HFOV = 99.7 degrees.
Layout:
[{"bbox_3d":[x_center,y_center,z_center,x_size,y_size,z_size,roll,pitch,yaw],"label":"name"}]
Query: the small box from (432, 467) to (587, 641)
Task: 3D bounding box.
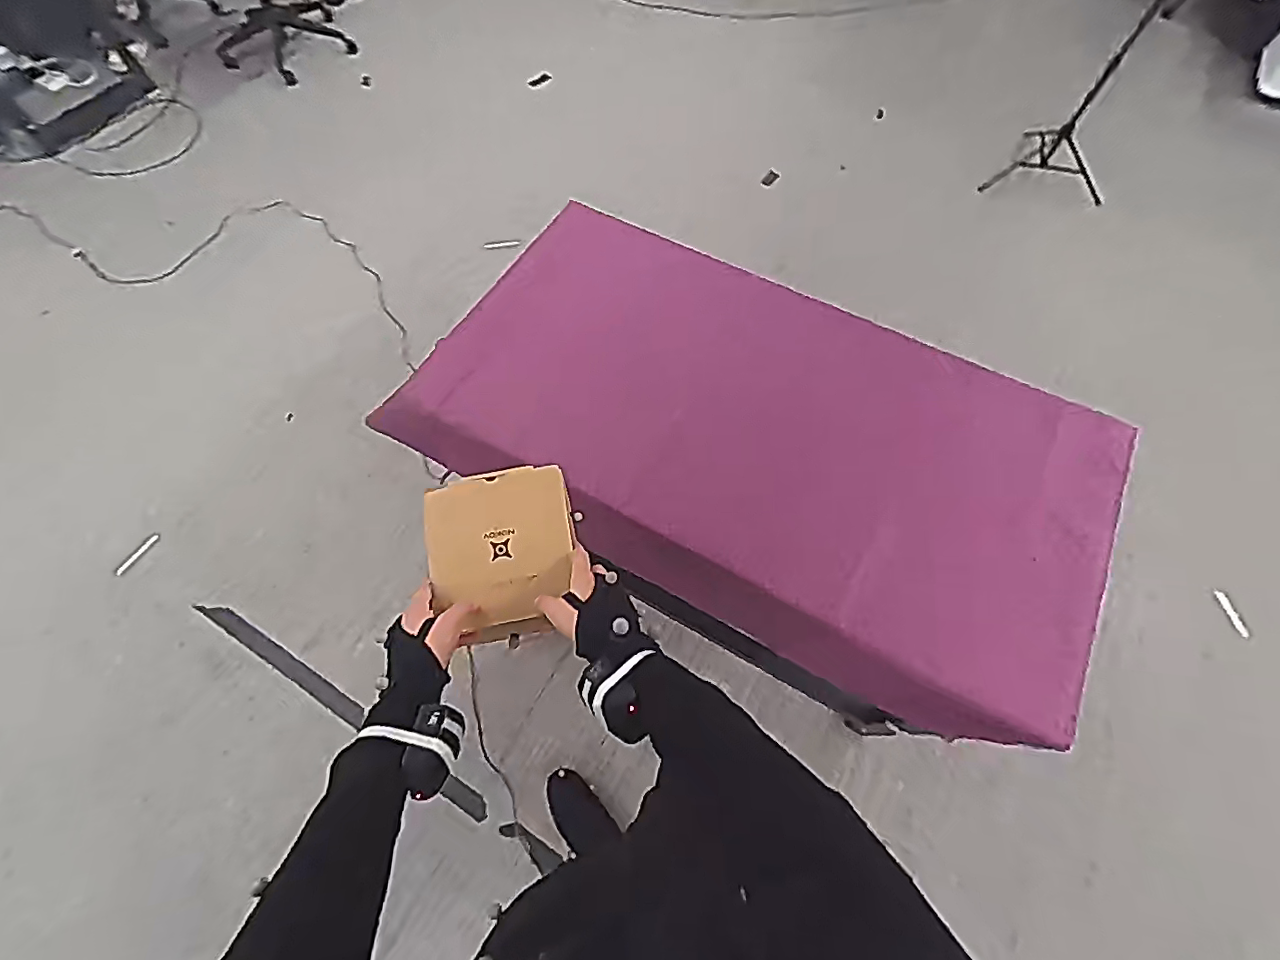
[{"bbox_3d":[-0.163,0.103,0.709,0.168,0.176,0.179,-9,70,-6],"label":"small box"}]
